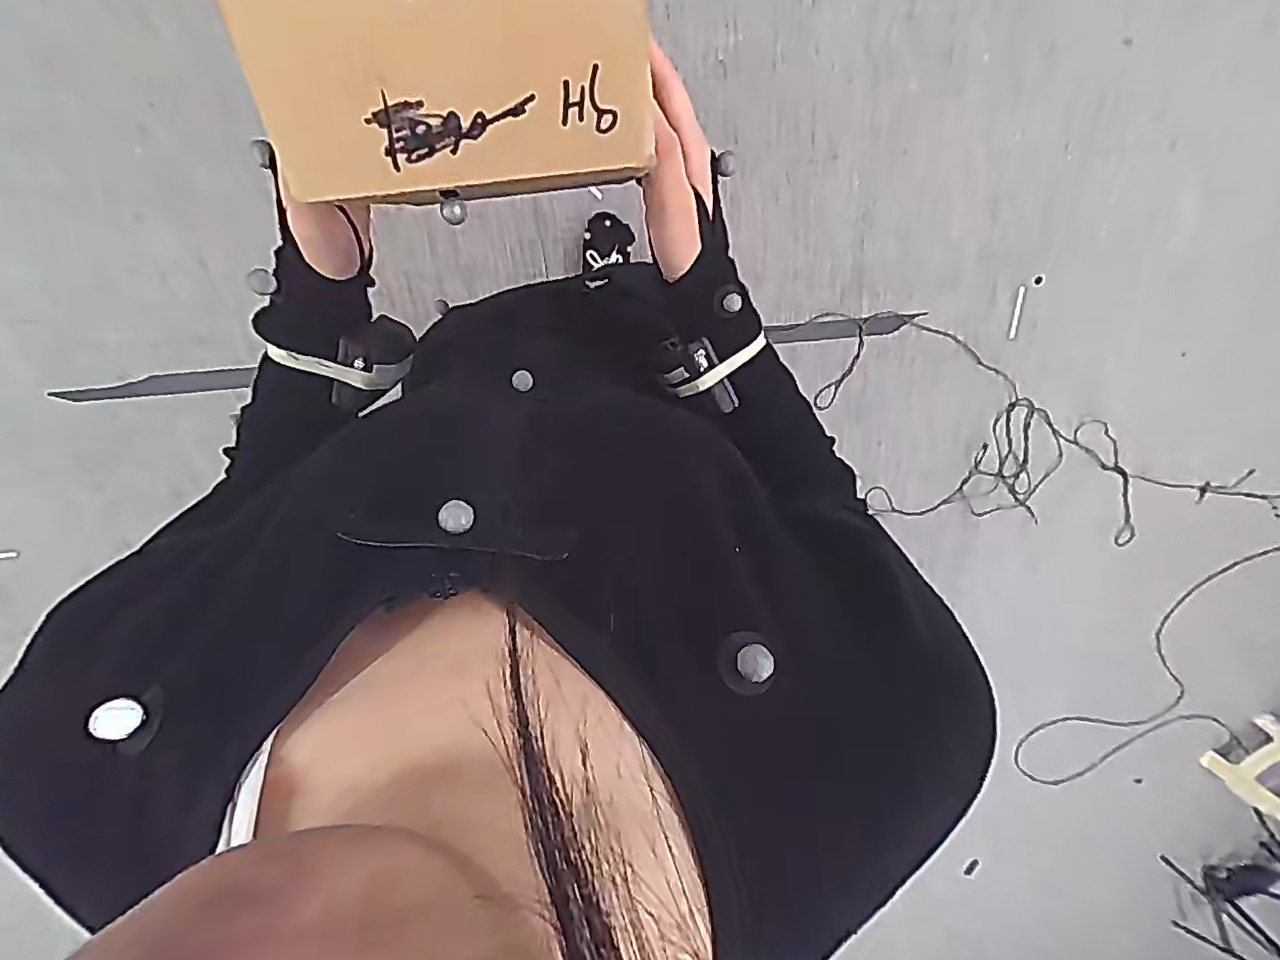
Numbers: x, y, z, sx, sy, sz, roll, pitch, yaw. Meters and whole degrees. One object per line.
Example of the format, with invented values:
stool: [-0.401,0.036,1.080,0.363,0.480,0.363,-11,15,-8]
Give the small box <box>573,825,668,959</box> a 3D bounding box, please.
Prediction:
small box: [-0.038,0.804,1.038,0.168,0.176,0.179,-5,114,-5]

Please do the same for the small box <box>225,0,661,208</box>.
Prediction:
small box: [-0.084,-0.243,0.273,0.168,0.176,0.179,-7,117,0]
